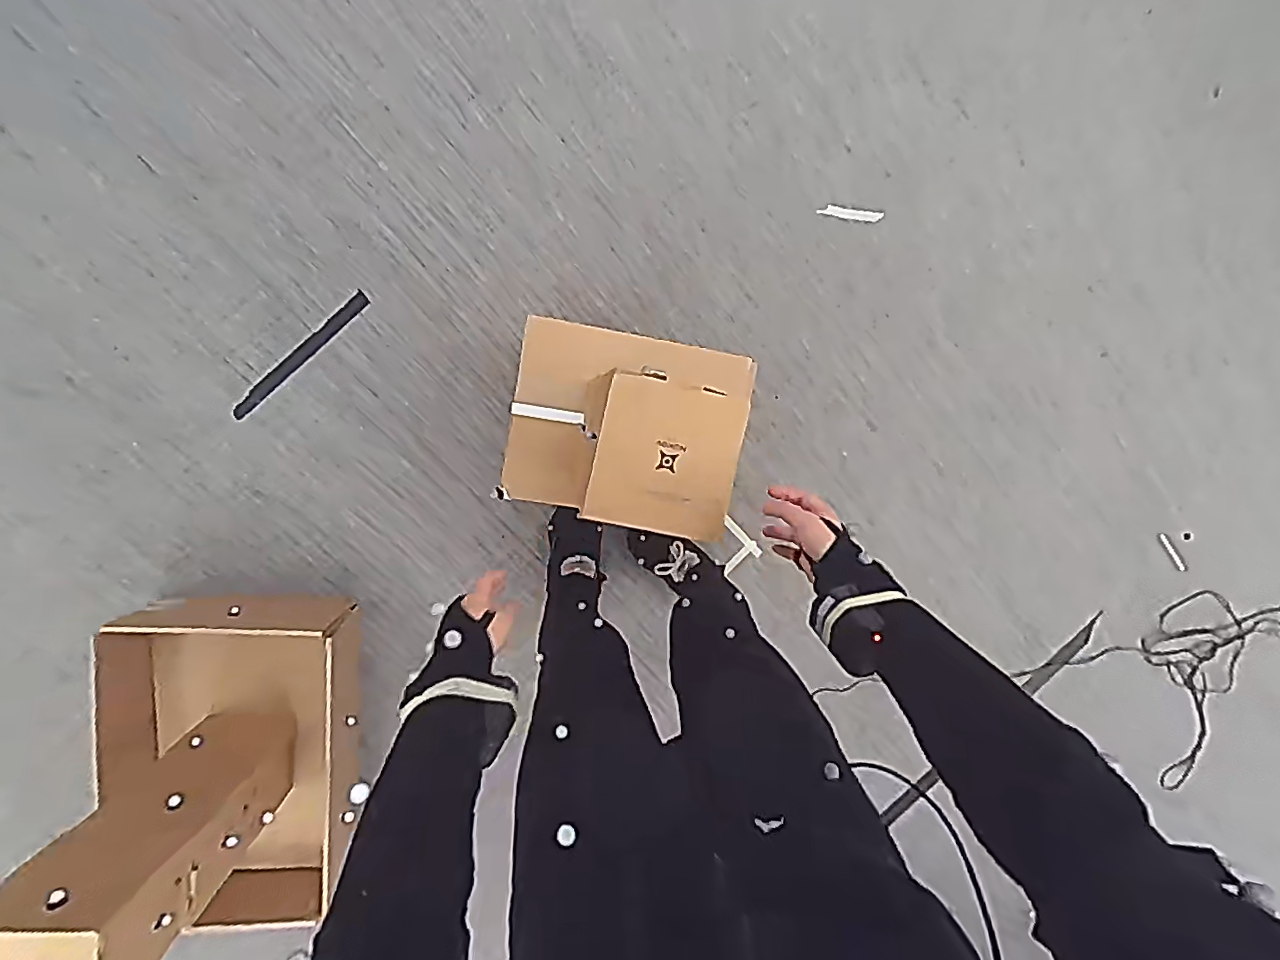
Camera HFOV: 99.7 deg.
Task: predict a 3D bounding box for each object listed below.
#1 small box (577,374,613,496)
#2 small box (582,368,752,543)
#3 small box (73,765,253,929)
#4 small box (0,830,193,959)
[{"bbox_3d":[-0.006,-0.060,0.855,0.168,0.176,0.179,9,95,-11],"label":"small box"},{"bbox_3d":[0.022,-0.035,0.697,0.168,0.176,0.179,12,96,-10],"label":"small box"},{"bbox_3d":[-0.794,0.610,0.913,0.179,0.176,0.168,8,95,-10],"label":"small box"},{"bbox_3d":[-0.777,0.621,0.750,0.179,0.176,0.168,7,95,-9],"label":"small box"}]
